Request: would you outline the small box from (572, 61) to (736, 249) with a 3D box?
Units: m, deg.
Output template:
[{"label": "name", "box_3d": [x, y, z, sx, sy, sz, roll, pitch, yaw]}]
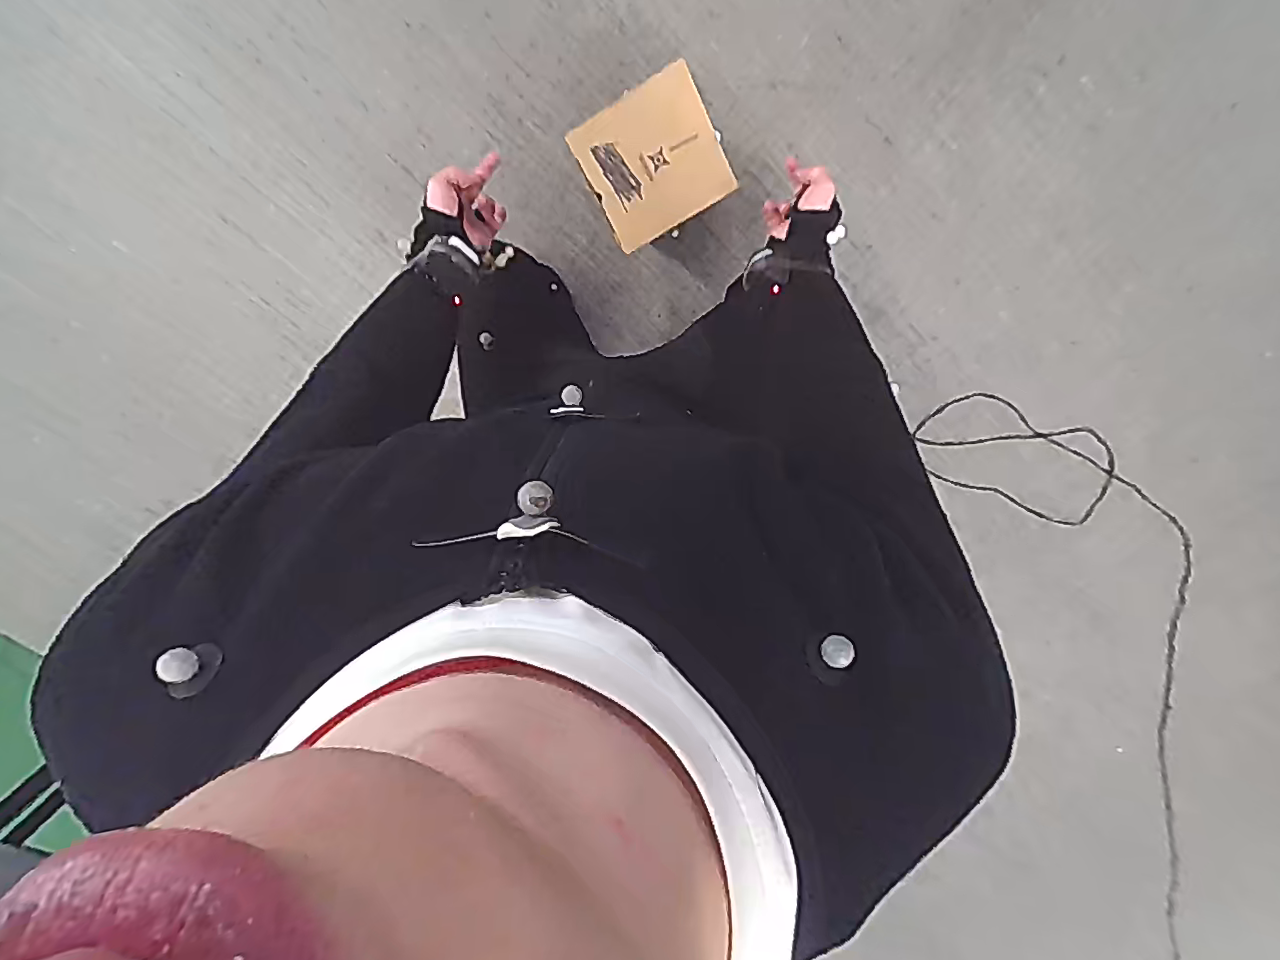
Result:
[{"label": "small box", "box_3d": [0.027, -0.453, 0.782, 0.179, 0.176, 0.168, -21, 113, 14]}]
